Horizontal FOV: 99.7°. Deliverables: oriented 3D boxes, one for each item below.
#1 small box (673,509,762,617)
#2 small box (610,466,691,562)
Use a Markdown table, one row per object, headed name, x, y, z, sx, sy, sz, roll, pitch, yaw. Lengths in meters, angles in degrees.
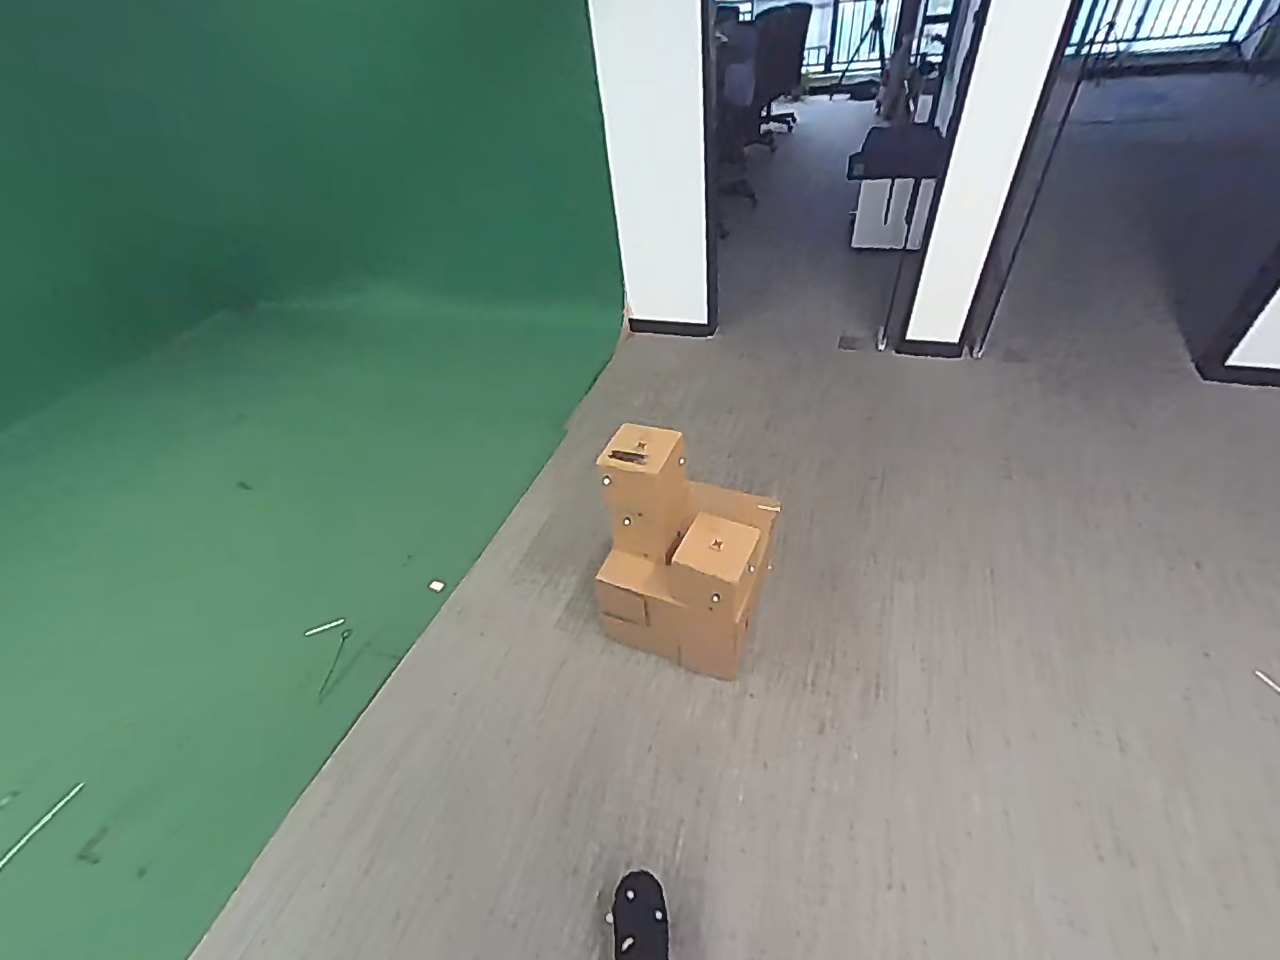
| name | x | y | z | sx | sy | sz | roll | pitch | yaw |
| --- | --- | --- | --- | --- | --- | --- | --- | --- | --- |
| small box | 0.195 | 0.209 | 1.345 | 0.168 | 0.176 | 0.179 | 17 | 47 | 23 |
| small box | 0.035 | 0.093 | 1.496 | 0.168 | 0.176 | 0.179 | 15 | 46 | 24 |
